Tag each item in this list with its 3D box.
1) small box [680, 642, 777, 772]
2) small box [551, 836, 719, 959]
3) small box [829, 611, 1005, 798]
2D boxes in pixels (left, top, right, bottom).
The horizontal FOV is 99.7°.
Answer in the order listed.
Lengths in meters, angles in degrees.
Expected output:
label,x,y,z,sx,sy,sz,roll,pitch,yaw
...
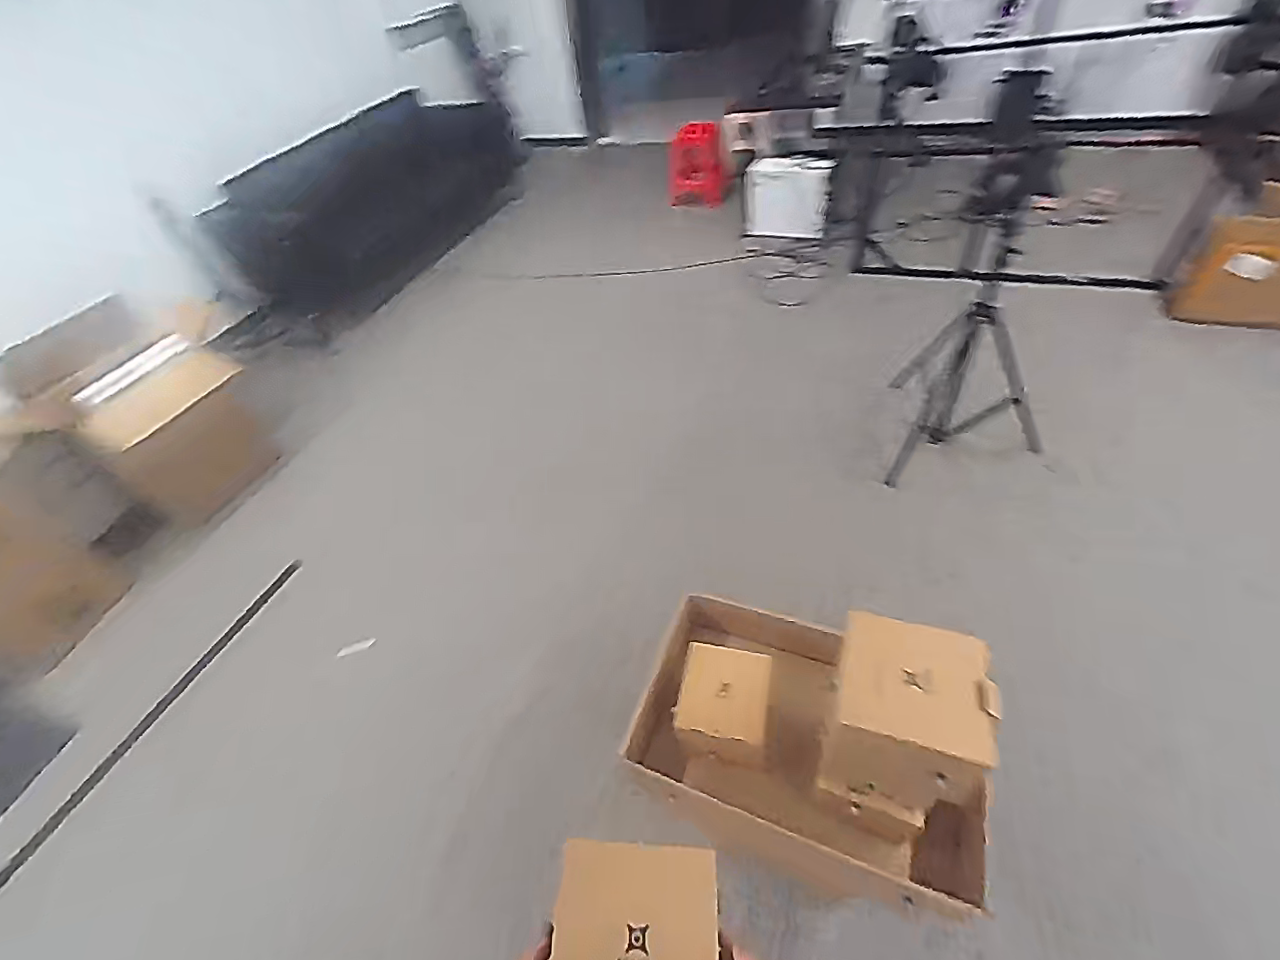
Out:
label,x,y,z,sx,sy,sz,roll,pitch,yaw
small box,0.183,0.460,1.098,0.168,0.176,0.179,6,49,17
small box,-0.011,0.506,0.585,0.168,0.176,0.179,5,50,-1
small box,0.371,0.311,0.744,0.179,0.176,0.168,10,49,20
